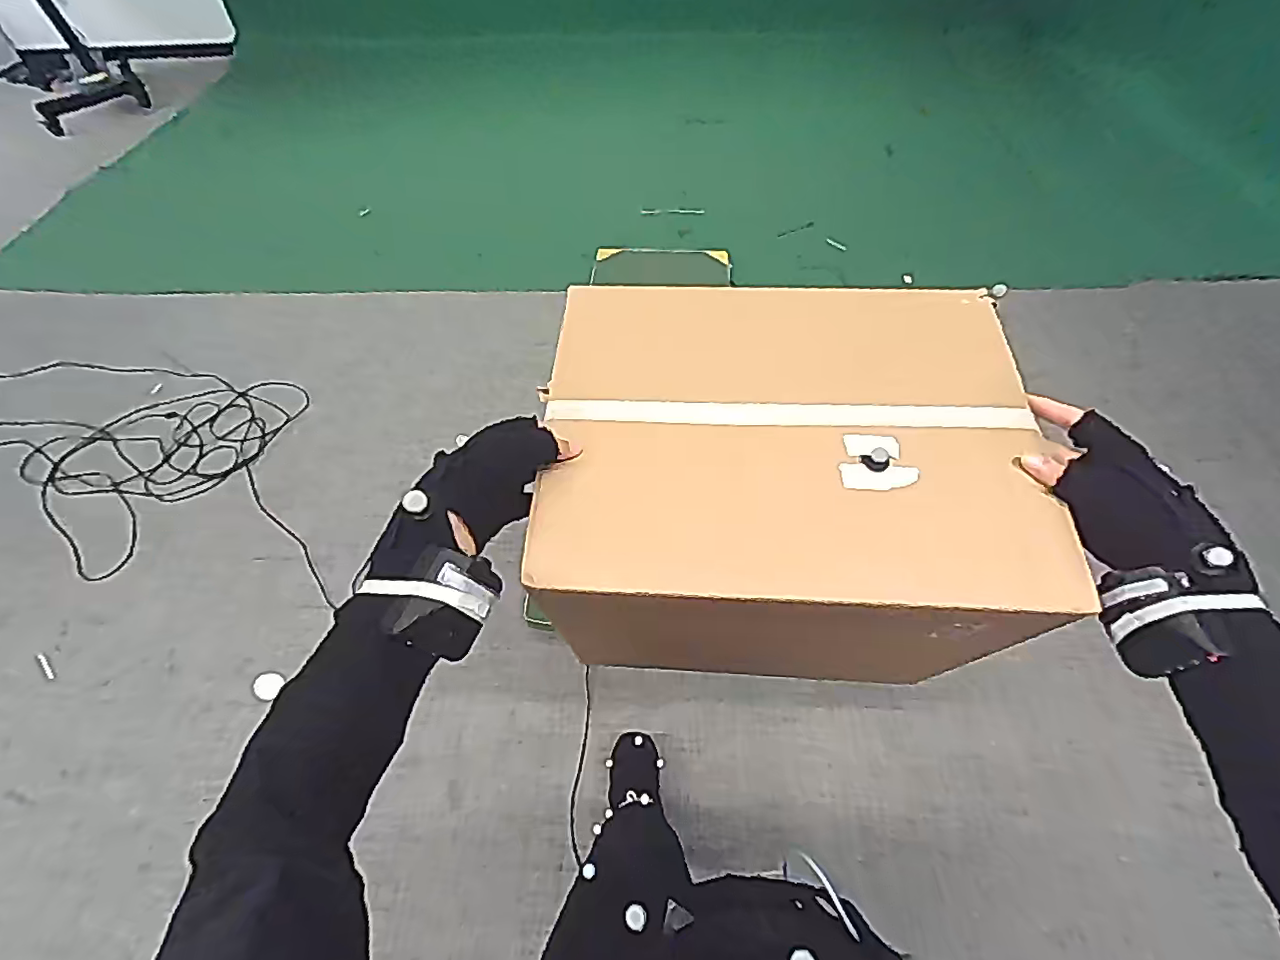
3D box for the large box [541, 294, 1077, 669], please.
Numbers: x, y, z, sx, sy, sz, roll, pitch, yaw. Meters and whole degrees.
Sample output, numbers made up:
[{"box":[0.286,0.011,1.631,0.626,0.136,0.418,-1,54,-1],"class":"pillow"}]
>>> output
[{"box":[0.129,0.019,0.600,0.408,0.320,0.320,2,62,3],"class":"large box"}]
